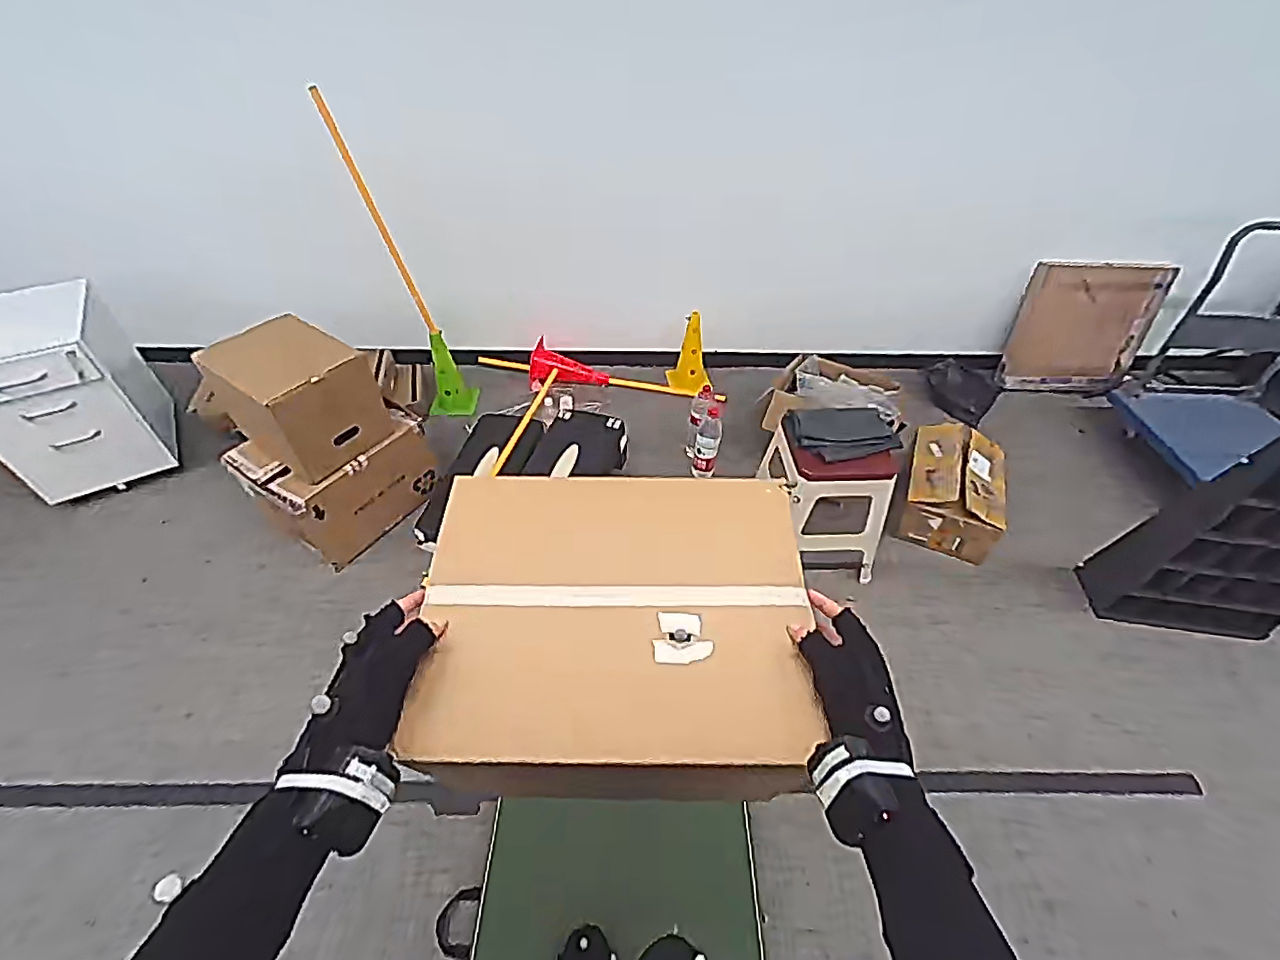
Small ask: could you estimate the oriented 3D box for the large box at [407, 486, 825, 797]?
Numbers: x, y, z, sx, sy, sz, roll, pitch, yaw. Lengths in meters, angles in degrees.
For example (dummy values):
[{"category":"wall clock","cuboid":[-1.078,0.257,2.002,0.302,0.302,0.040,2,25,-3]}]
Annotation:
[{"category":"large box","cuboid":[-0.026,0.220,0.712,0.408,0.320,0.320,1,54,-1]}]
